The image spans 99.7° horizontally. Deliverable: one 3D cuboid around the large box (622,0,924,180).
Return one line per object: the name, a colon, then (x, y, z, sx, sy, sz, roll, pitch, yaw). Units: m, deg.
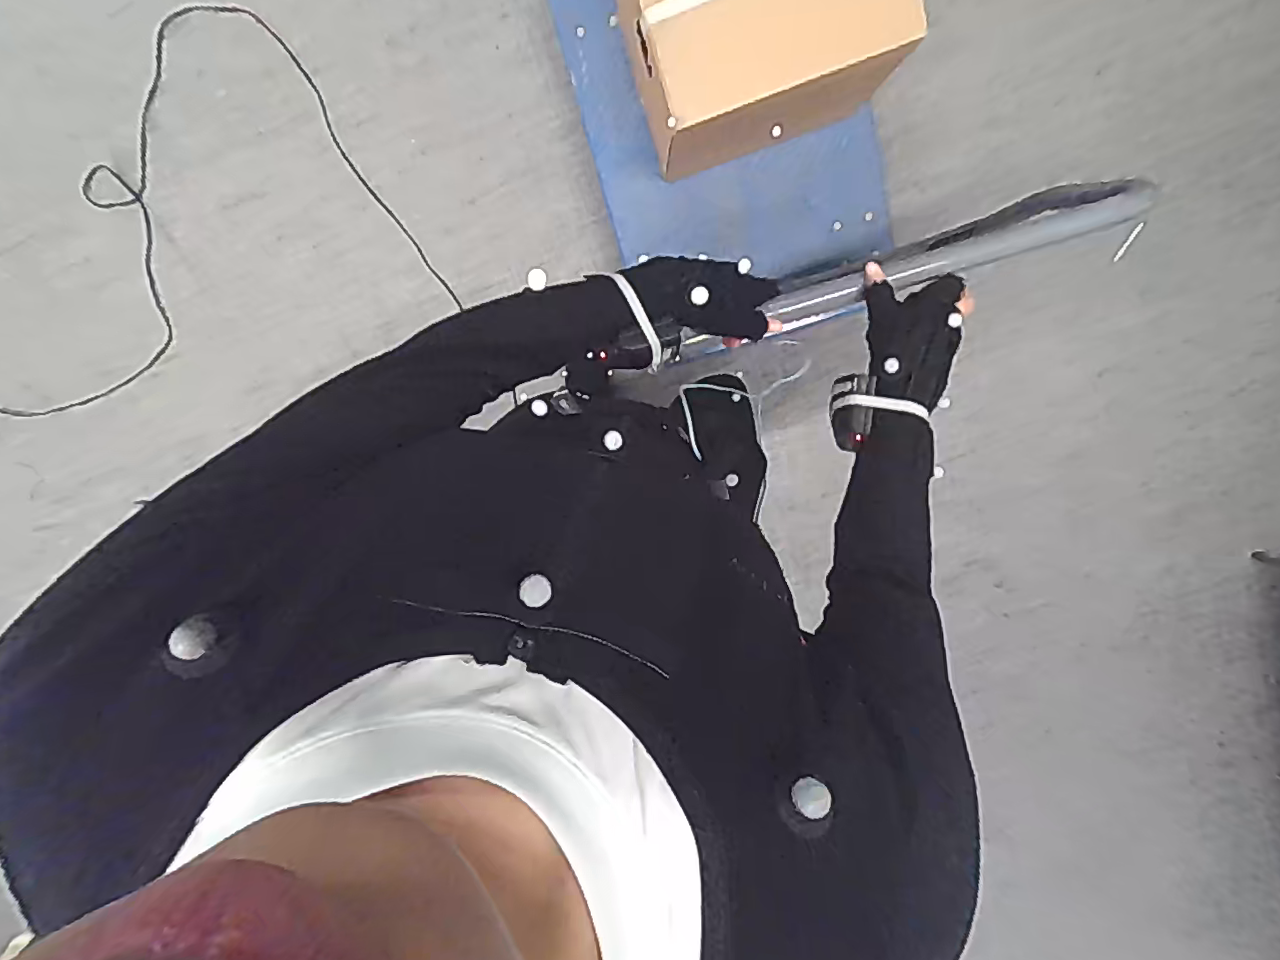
large box: (0.204, -0.796, 0.955, 0.408, 0.320, 0.320, -19, 103, 6)
